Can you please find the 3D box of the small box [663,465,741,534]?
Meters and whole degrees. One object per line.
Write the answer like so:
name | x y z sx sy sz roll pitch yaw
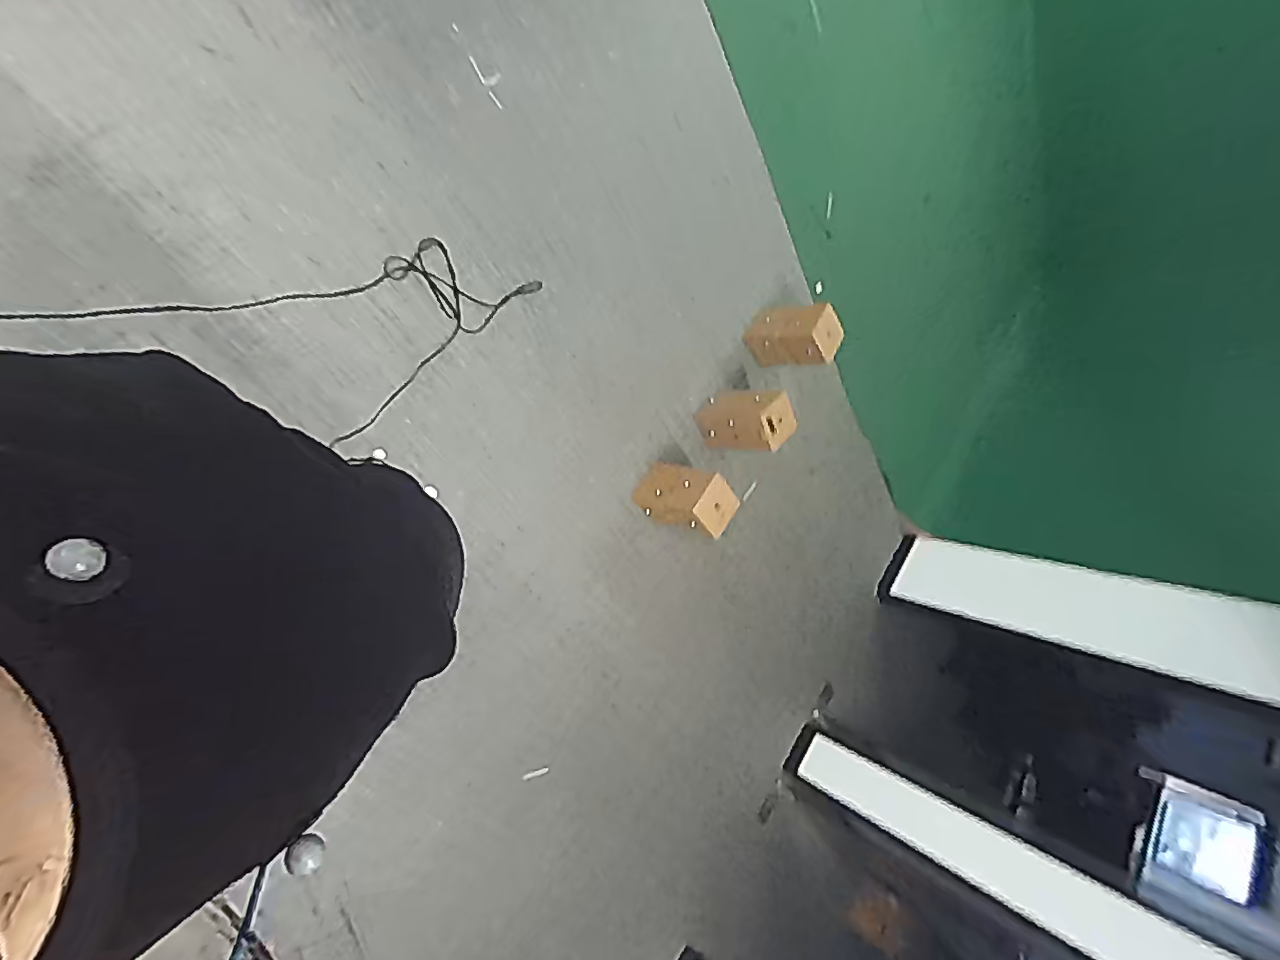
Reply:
small box | 0.210 0.061 1.867 0.168 0.176 0.179 -54 127 -18

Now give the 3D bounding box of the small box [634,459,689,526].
small box | 0.110 0.039 1.997 0.179 0.176 0.168 -55 126 -18

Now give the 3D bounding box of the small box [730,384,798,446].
small box | 0.456 -0.244 2.019 0.179 0.176 0.168 -44 123 -27

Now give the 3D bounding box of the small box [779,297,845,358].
small box | 0.680 -0.598 2.148 0.179 0.176 0.168 44 71 -37

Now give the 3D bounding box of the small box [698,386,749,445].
small box | 0.354 -0.260 2.148 0.179 0.176 0.168 -44 123 -26
